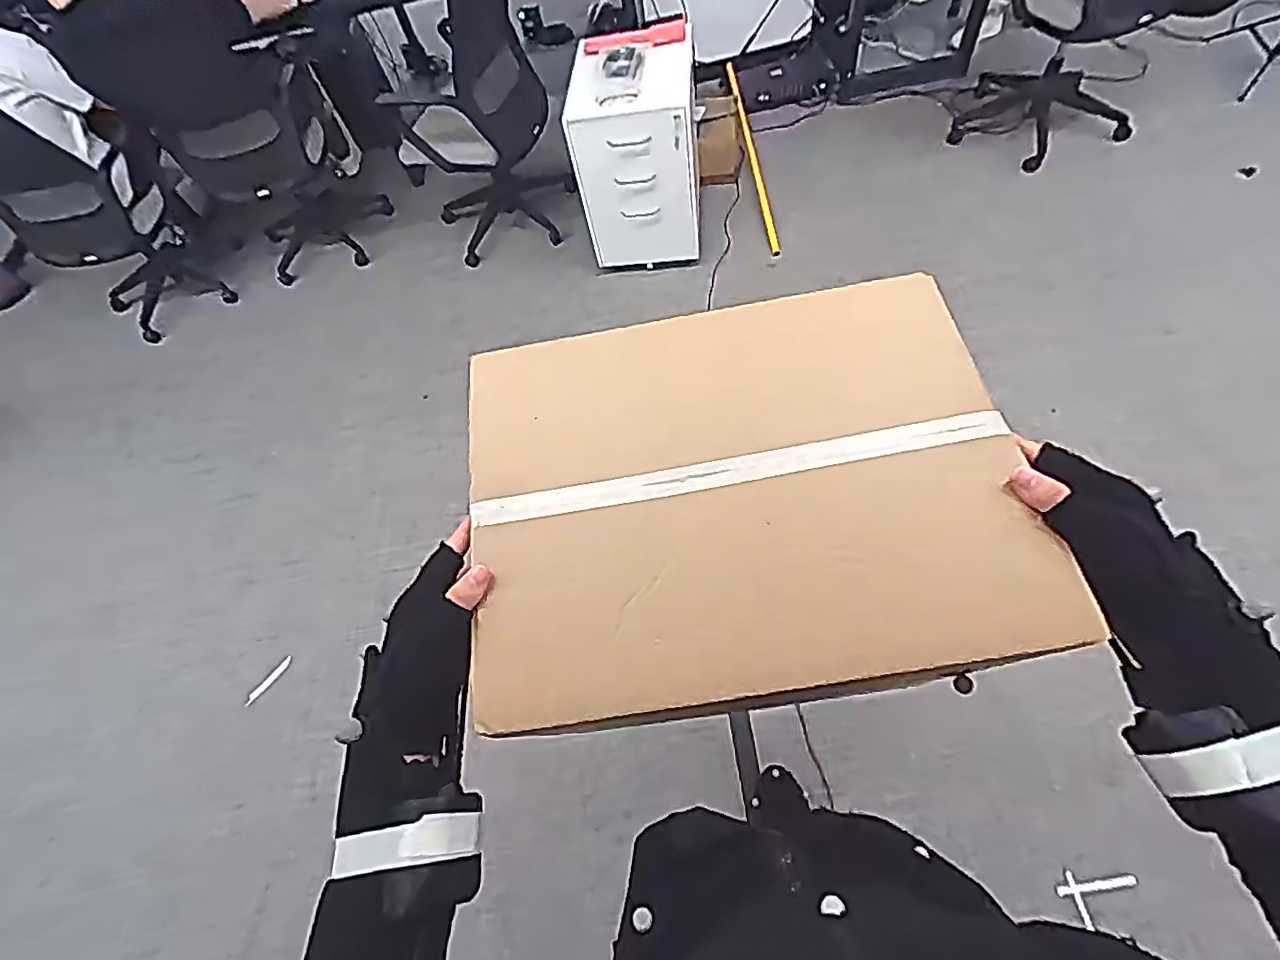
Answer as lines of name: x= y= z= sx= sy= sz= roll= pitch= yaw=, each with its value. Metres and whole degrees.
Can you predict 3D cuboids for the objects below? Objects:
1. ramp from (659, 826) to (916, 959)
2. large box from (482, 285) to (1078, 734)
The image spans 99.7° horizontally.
ramp: x=0.320 y=1.182 z=0.889 sx=0.509 sy=0.206 sz=0.991 roll=-12 pitch=59 yaw=4
large box: x=0.091 y=0.060 z=0.557 sx=0.408 sy=0.320 sz=0.320 roll=-10 pitch=64 yaw=3
